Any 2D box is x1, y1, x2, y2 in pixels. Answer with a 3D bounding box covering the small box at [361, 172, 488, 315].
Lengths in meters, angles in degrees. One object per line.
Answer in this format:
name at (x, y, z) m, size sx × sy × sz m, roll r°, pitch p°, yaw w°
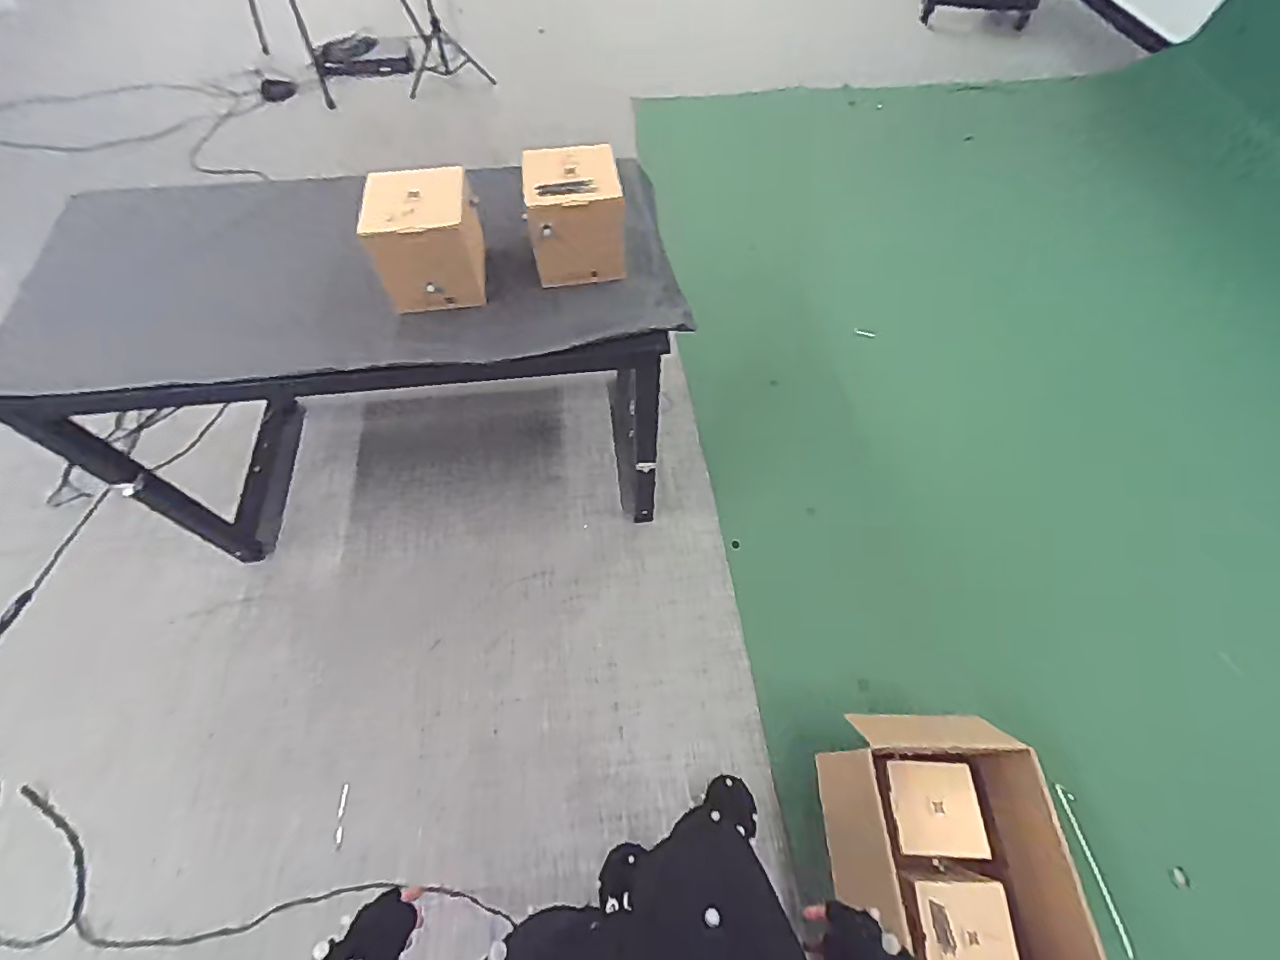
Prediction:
small box at (-0.379, -0.427, 0.983) m, size 0.168 × 0.176 × 0.179 m, roll -7°, pitch 59°, yaw -4°
